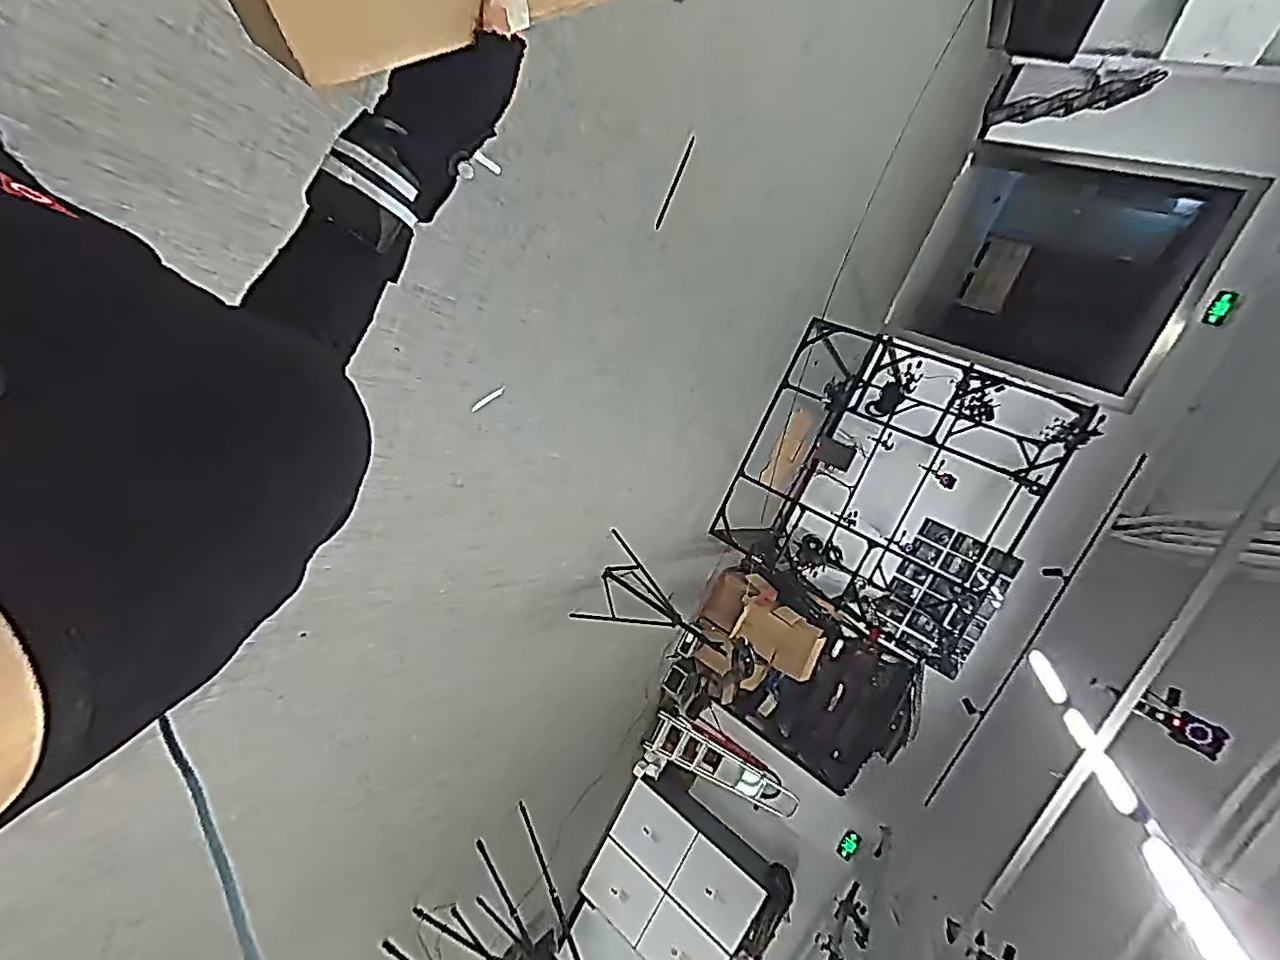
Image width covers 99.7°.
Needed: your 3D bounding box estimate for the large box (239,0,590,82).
[{"bbox_3d":[-0.210,-0.565,0.352,0.320,0.320,0.408,-31,142,-15],"label":"large box"}]
